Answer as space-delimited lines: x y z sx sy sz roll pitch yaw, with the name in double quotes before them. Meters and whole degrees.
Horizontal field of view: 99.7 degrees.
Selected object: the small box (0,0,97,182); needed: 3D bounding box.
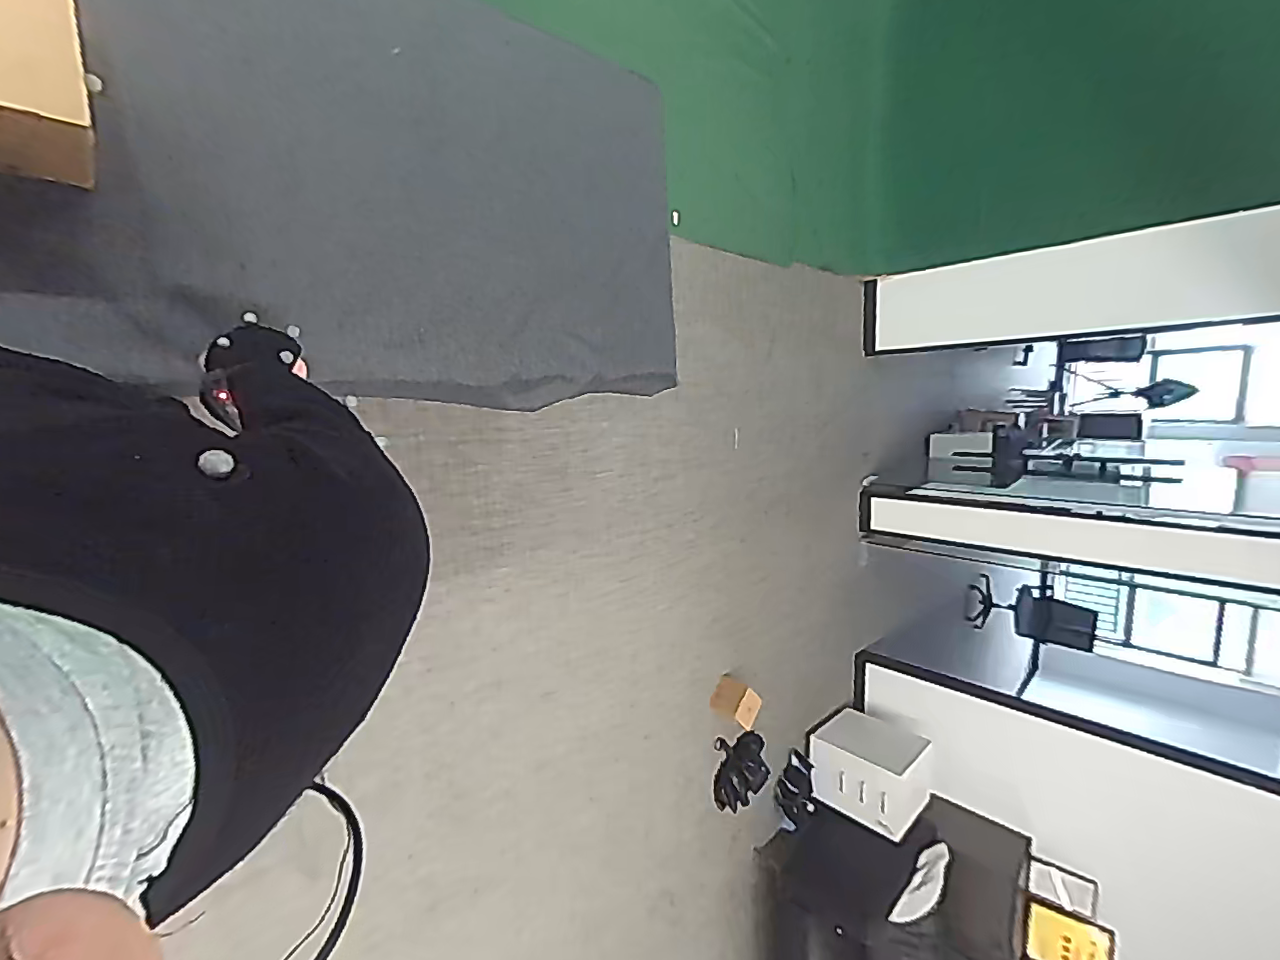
"small box" -0.601 -0.390 0.473 0.168 0.176 0.179 -9 101 -45
